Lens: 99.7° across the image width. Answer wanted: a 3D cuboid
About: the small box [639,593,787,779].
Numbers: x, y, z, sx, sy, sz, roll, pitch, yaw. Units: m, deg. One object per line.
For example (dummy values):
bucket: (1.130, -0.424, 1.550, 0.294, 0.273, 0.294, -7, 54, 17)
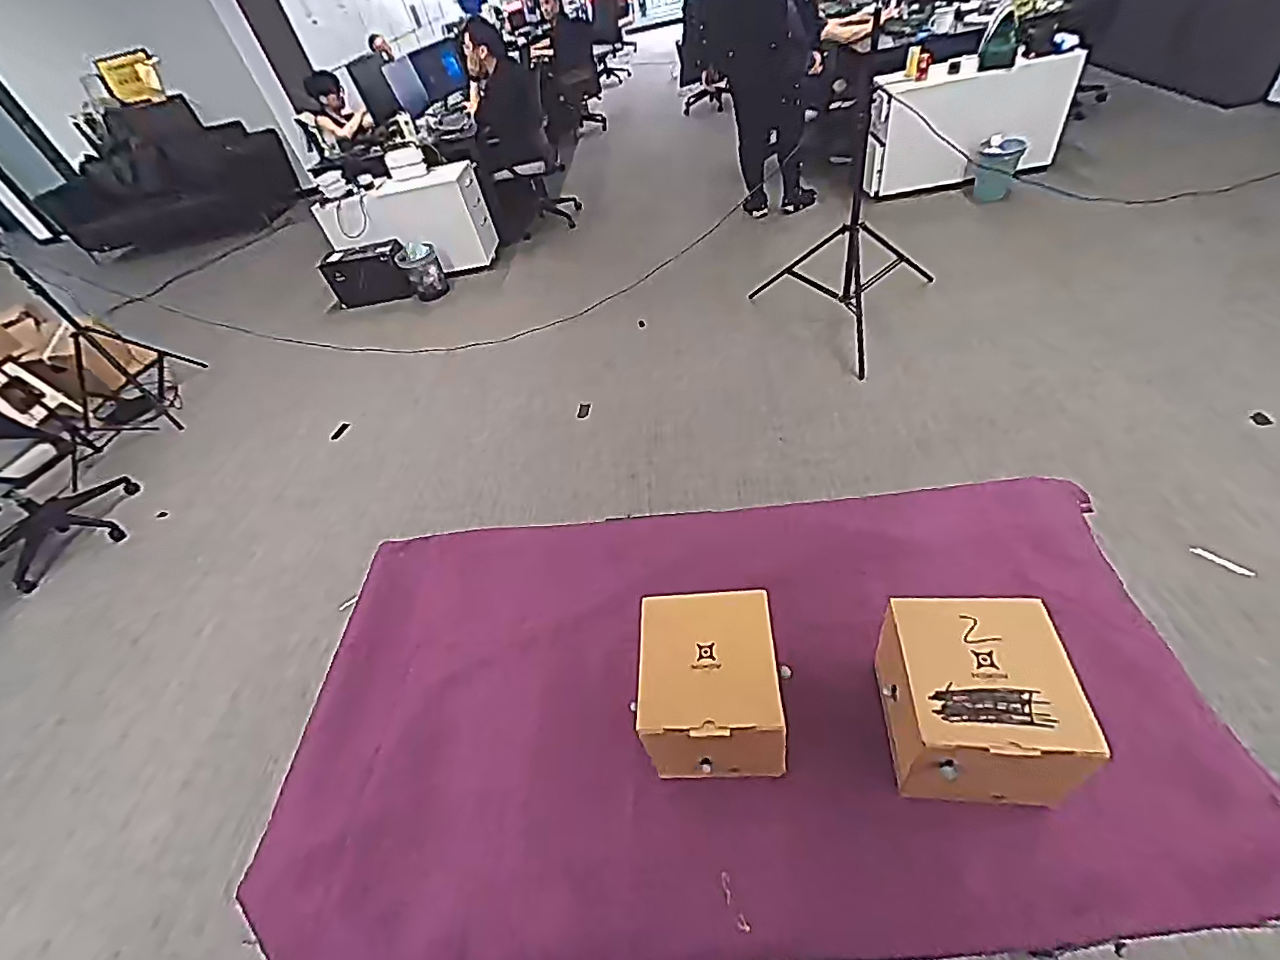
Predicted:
small box: (0.096, 0.271, 0.709, 0.168, 0.176, 0.179, -6, 46, 9)
